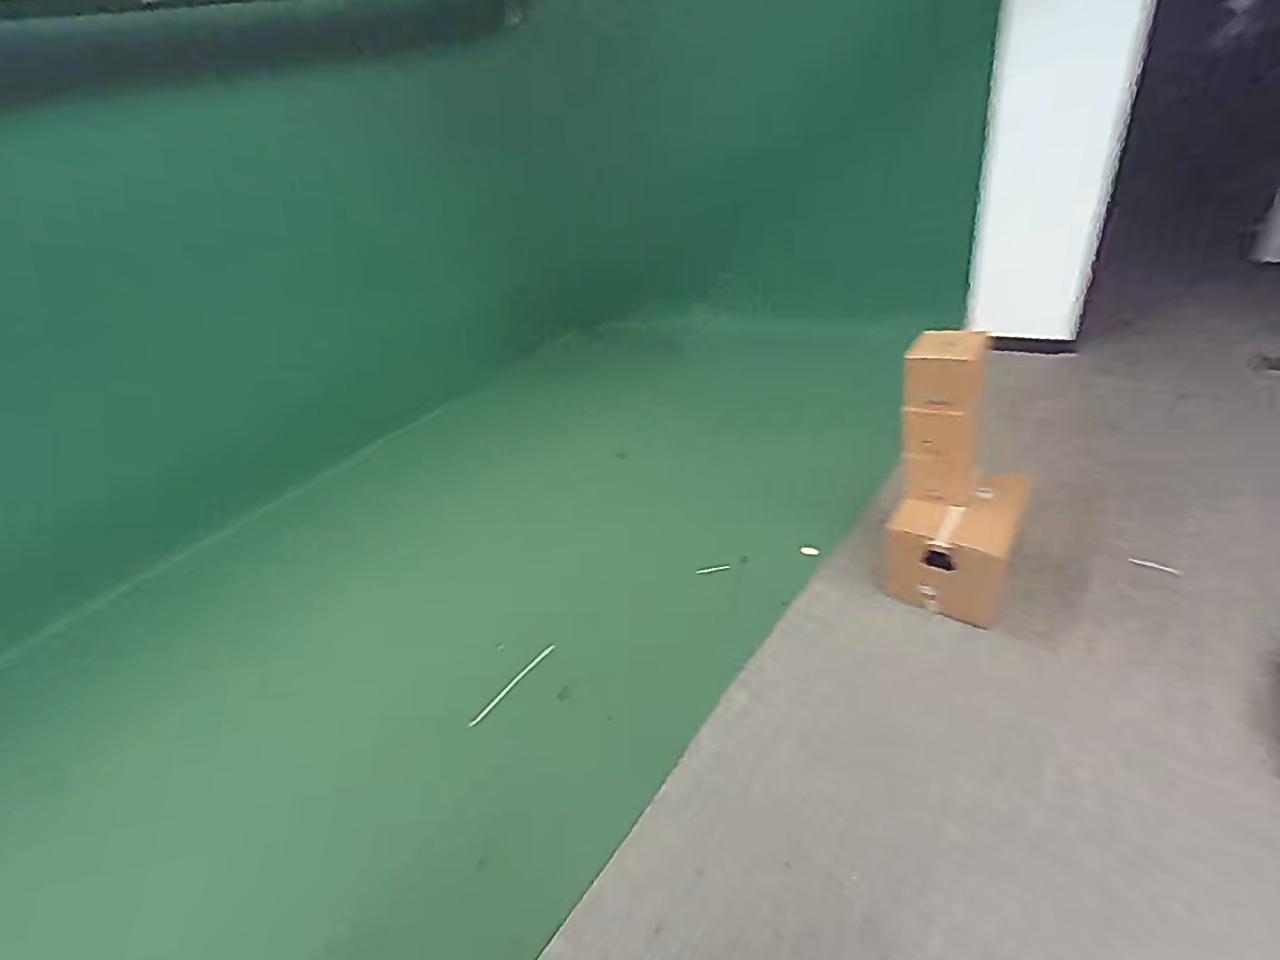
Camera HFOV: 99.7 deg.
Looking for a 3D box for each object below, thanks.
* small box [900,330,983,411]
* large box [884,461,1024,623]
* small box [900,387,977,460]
[{"bbox_3d":[0.866,-0.318,1.556,0.168,0.176,0.179,14,46,42],"label":"small box"},{"bbox_3d":[1.029,0.190,1.783,0.320,0.320,0.408,15,44,39],"label":"large box"},{"bbox_3d":[0.902,-0.184,1.642,0.168,0.176,0.179,13,44,40],"label":"small box"}]
